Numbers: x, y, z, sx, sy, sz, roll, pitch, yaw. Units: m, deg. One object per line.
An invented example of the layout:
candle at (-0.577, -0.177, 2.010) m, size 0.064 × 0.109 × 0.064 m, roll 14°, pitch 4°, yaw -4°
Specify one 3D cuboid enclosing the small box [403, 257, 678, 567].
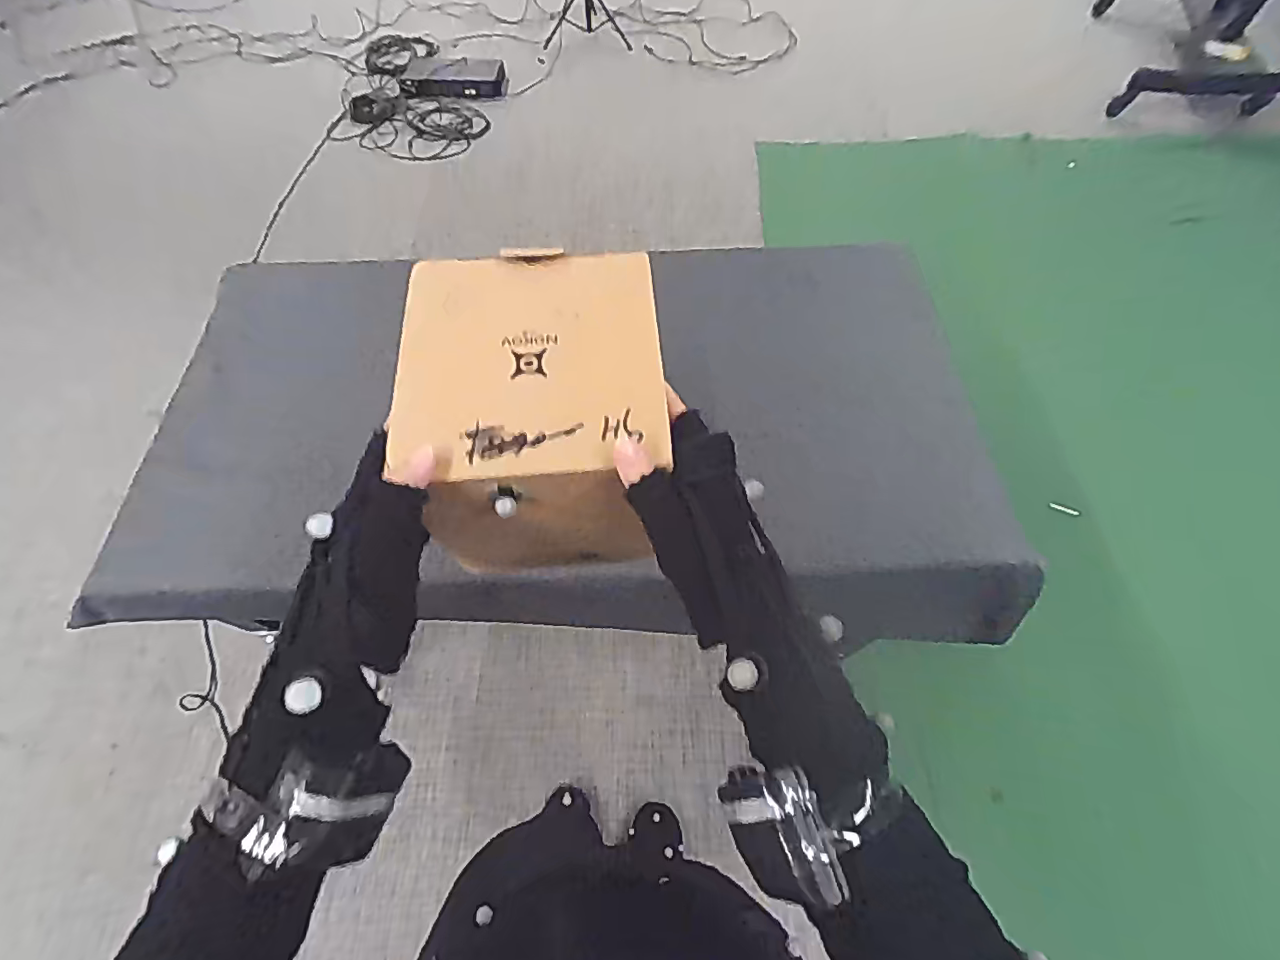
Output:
small box at (-0.069, -0.046, 0.429) m, size 0.168 × 0.176 × 0.179 m, roll -6°, pitch 63°, yaw -4°
